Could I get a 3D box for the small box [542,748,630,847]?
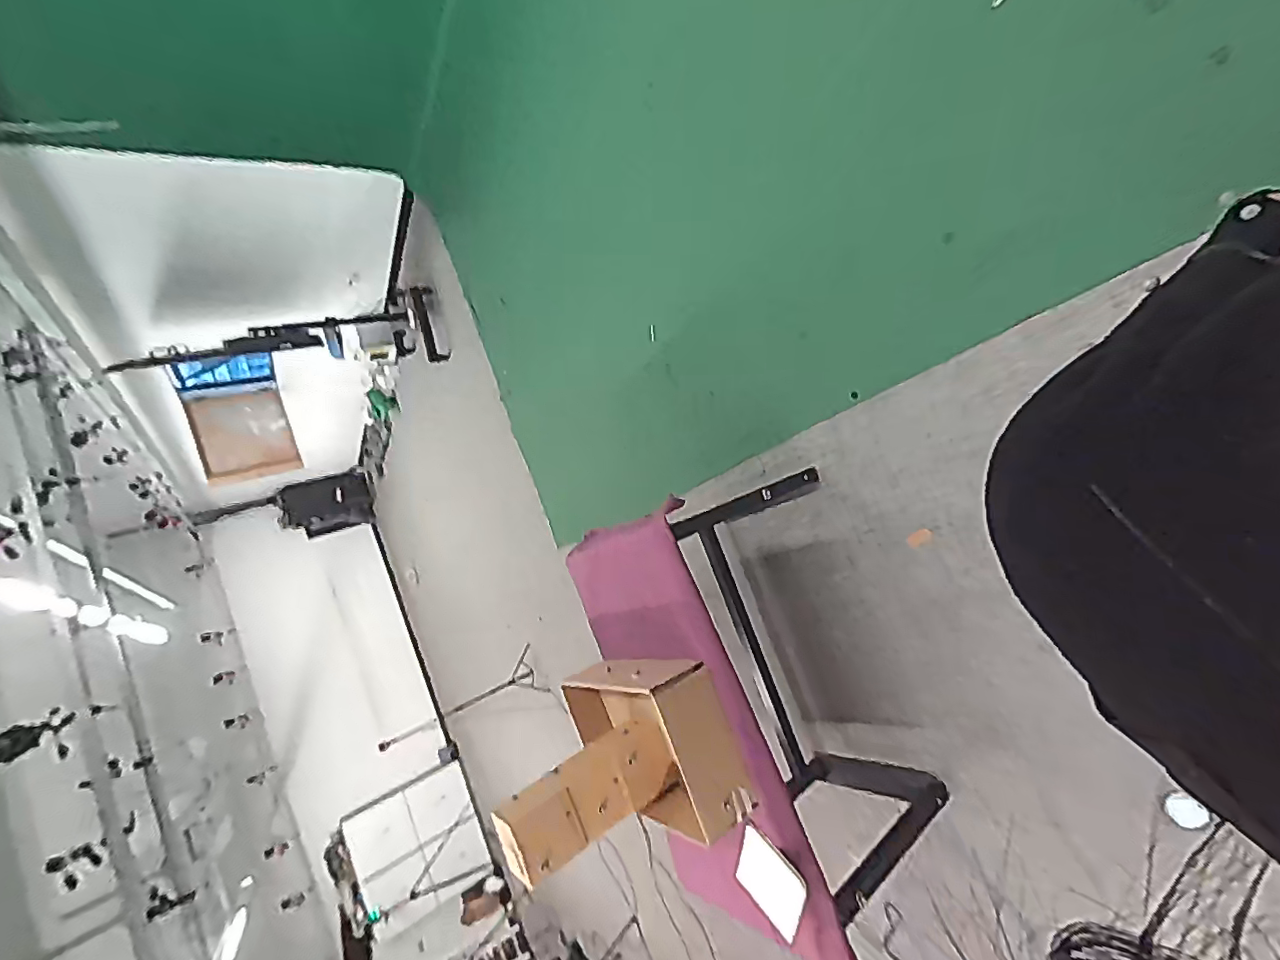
[{"bbox_3d":[-0.148,0.893,1.540,0.179,0.176,0.168,-25,84,54],"label":"small box"}]
